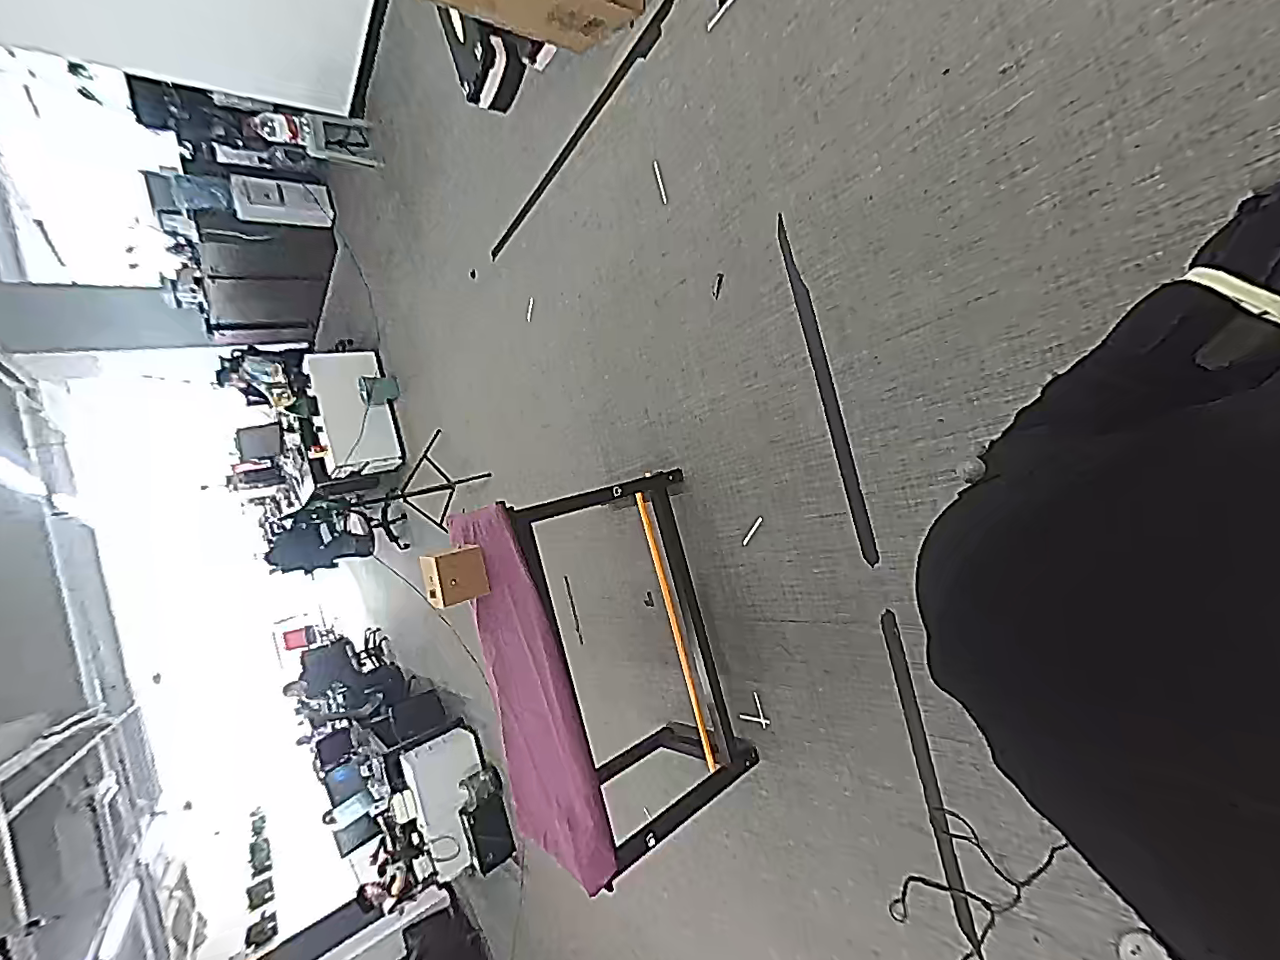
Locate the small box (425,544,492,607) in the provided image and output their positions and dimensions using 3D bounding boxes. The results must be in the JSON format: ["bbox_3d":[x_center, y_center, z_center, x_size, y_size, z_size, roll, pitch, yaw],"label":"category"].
[{"bbox_3d":[-0.641,0.335,1.920,0.168,0.176,0.179,-7,94,51],"label":"small box"}]
